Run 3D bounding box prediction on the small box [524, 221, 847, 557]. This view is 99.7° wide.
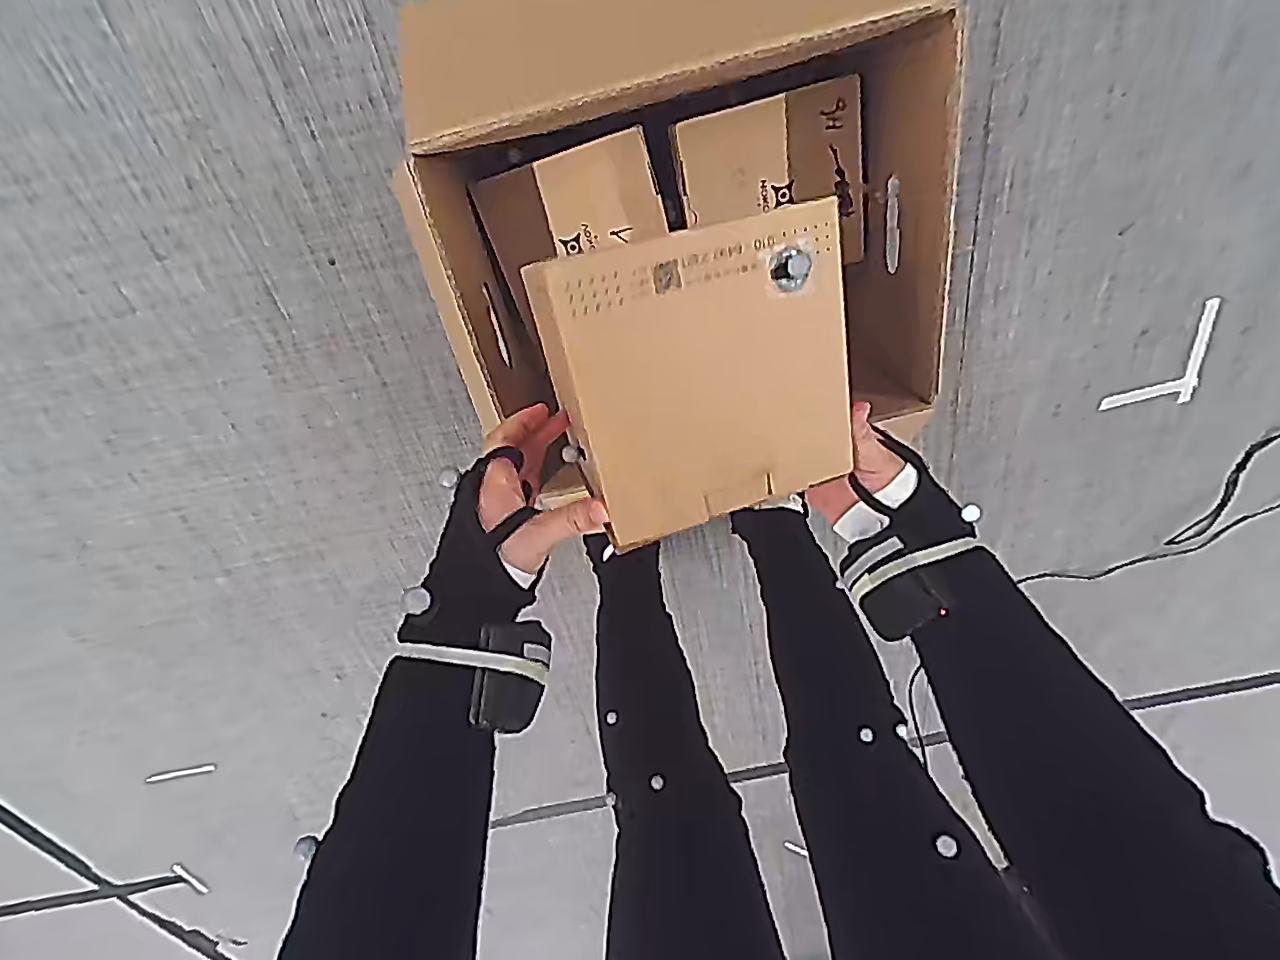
[{"bbox_3d":[0.022,-0.079,0.390,0.168,0.179,0.176,-18,116,-8],"label":"small box"}]
